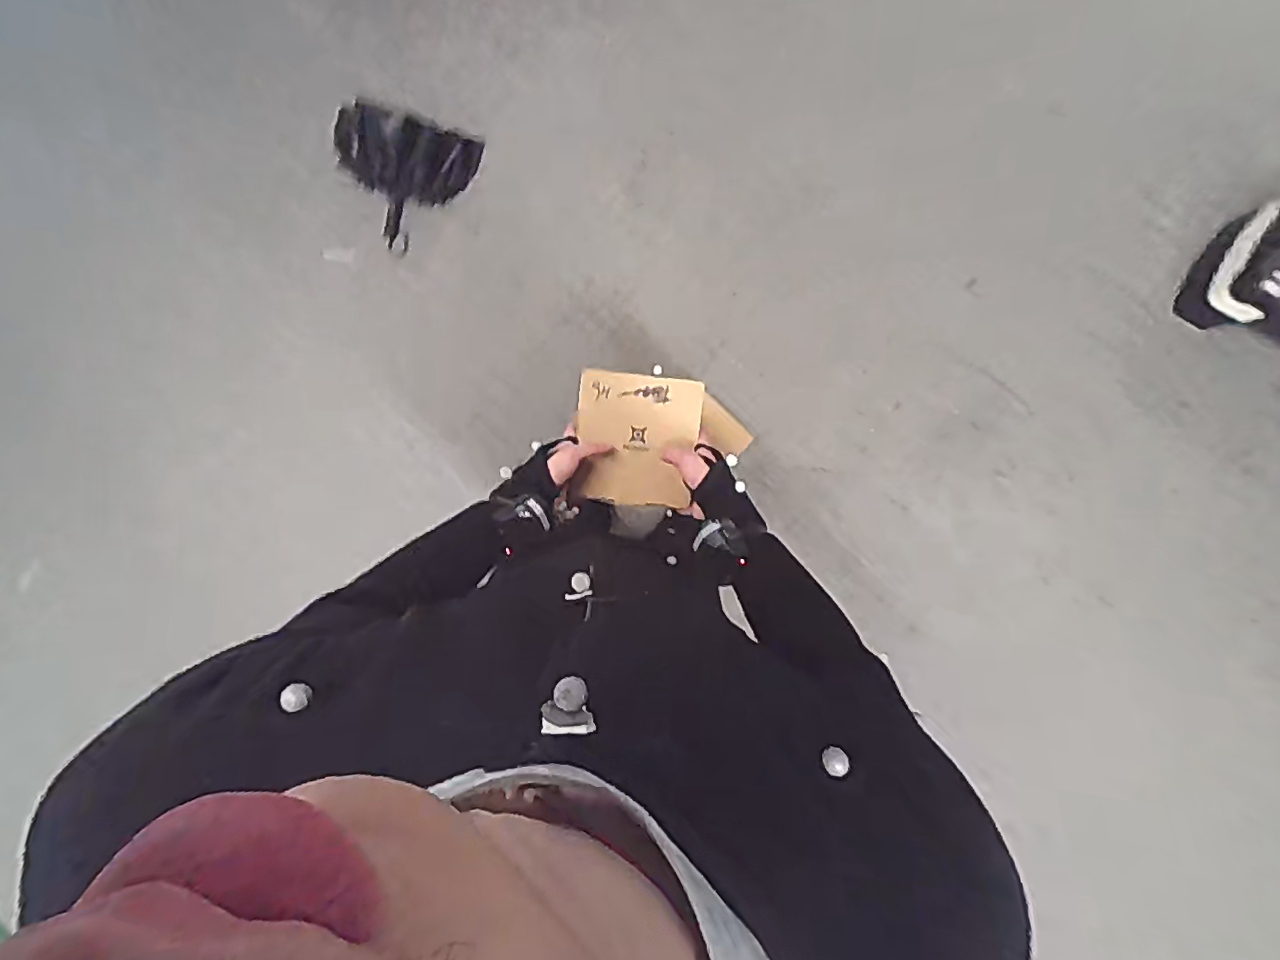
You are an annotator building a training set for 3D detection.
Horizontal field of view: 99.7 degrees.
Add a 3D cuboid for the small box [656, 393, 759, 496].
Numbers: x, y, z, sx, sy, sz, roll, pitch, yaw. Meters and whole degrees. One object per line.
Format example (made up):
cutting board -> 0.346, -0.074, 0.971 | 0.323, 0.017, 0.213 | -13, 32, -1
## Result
small box -> 0.159, -0.081, 1.292 | 0.168, 0.176, 0.179 | 43, 93, 2
